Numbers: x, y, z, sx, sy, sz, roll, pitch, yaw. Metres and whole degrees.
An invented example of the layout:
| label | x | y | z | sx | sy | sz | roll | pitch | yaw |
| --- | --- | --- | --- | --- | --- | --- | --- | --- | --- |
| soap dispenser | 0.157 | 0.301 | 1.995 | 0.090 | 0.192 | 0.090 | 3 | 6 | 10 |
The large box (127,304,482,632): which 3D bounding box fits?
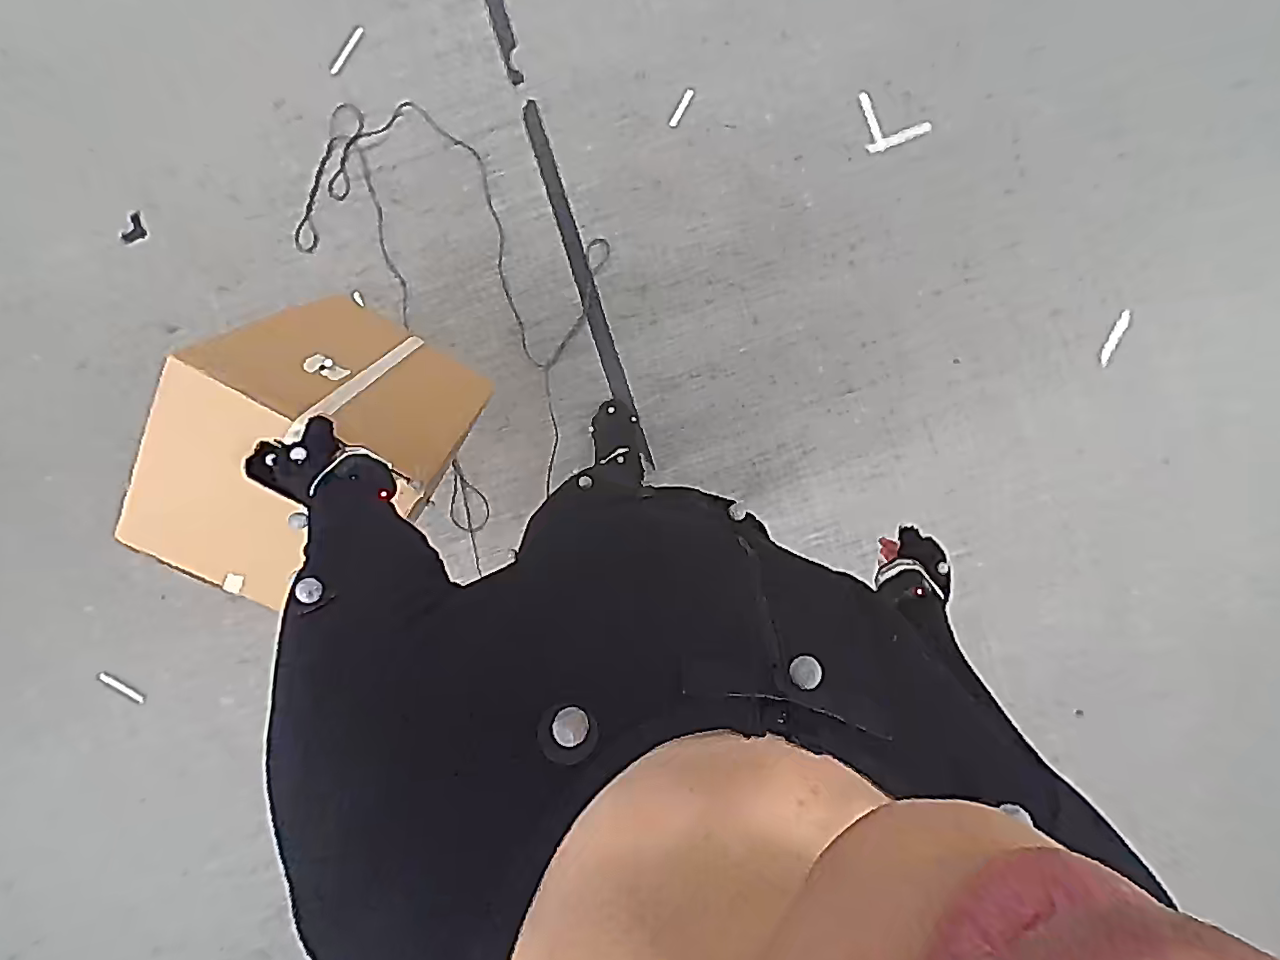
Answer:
| label | x | y | z | sx | sy | sz | roll | pitch | yaw |
| --- | --- | --- | --- | --- | --- | --- | --- | --- | --- |
| large box | -0.510 | -0.038 | 0.899 | 0.320 | 0.408 | 0.320 | 29 | 115 | -15 |
